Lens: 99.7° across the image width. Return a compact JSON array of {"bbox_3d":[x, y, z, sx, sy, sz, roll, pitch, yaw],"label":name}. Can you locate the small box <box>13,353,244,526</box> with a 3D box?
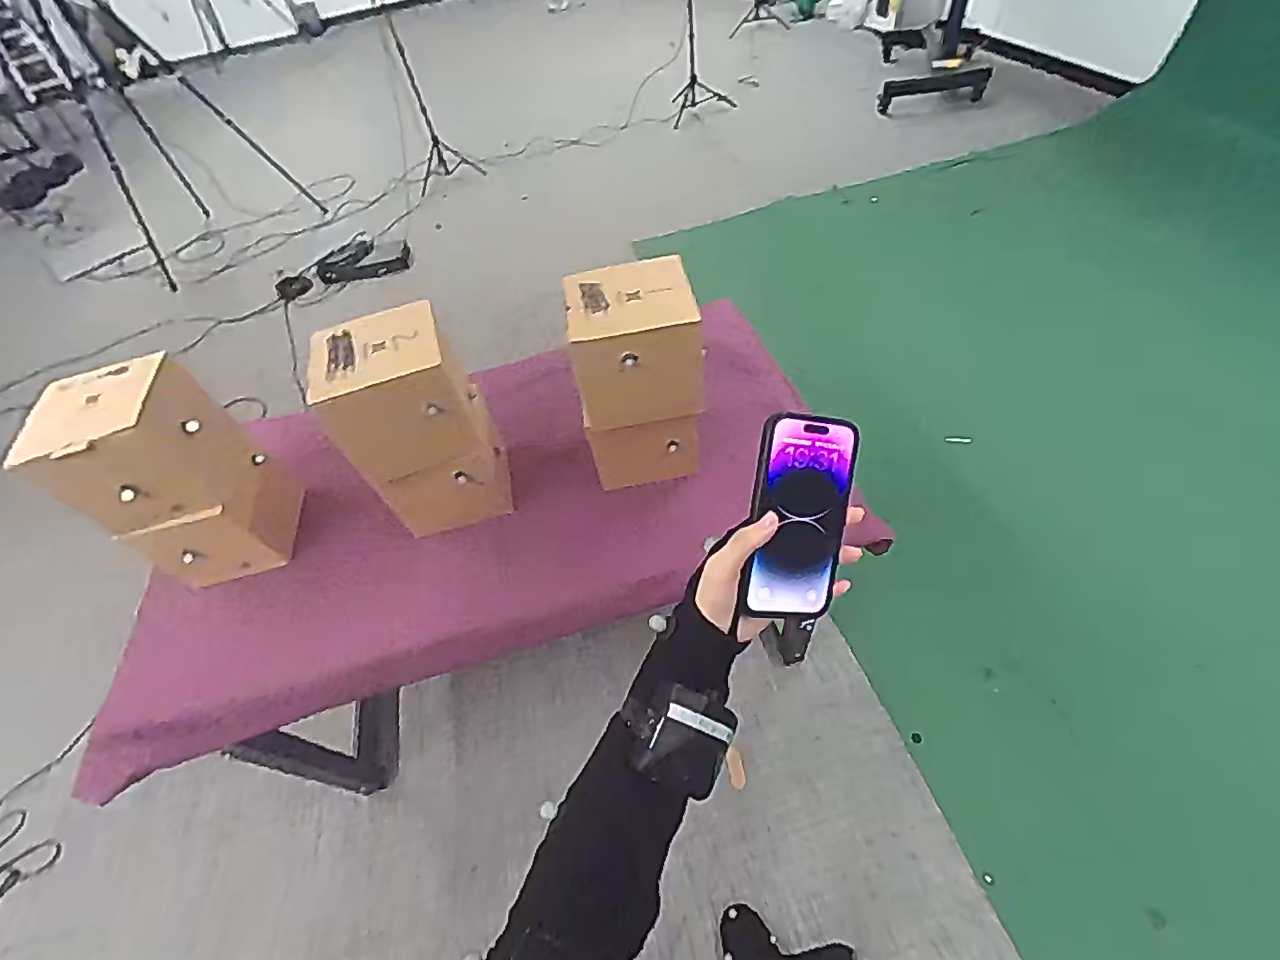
[{"bbox_3d":[-0.733,-0.052,0.803,0.168,0.176,0.179,-18,52,-6],"label":"small box"}]

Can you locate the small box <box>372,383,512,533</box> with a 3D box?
[{"bbox_3d":[-0.328,-0.034,0.928,0.179,0.176,0.168,-15,51,-2],"label":"small box"}]

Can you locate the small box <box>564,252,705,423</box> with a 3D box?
[{"bbox_3d":[-0.006,-0.203,0.798,0.179,0.176,0.168,-10,51,1],"label":"small box"}]

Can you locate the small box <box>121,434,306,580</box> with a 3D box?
[{"bbox_3d":[-0.708,0.054,0.926,0.168,0.176,0.179,-15,51,-2],"label":"small box"}]

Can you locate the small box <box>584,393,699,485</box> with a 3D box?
[{"bbox_3d":[0.004,-0.112,0.935,0.179,0.176,0.168,-11,51,2],"label":"small box"}]
